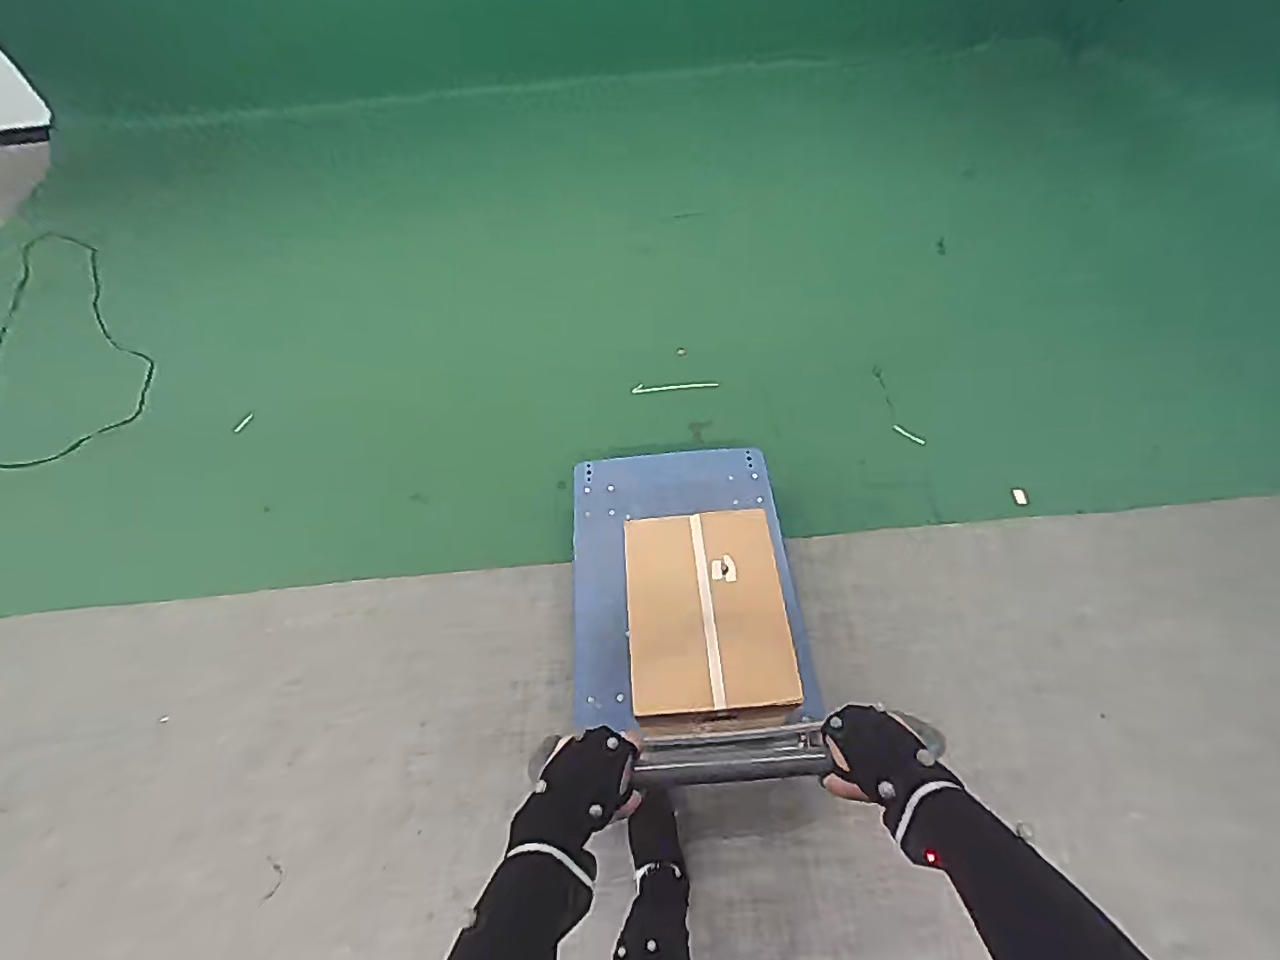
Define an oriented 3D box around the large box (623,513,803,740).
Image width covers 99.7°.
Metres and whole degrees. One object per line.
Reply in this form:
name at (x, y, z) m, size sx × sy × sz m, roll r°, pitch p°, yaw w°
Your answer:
large box at (0.140, 0.333, 1.211) m, size 0.320 × 0.320 × 0.408 m, roll -5°, pitch 57°, yaw 0°
